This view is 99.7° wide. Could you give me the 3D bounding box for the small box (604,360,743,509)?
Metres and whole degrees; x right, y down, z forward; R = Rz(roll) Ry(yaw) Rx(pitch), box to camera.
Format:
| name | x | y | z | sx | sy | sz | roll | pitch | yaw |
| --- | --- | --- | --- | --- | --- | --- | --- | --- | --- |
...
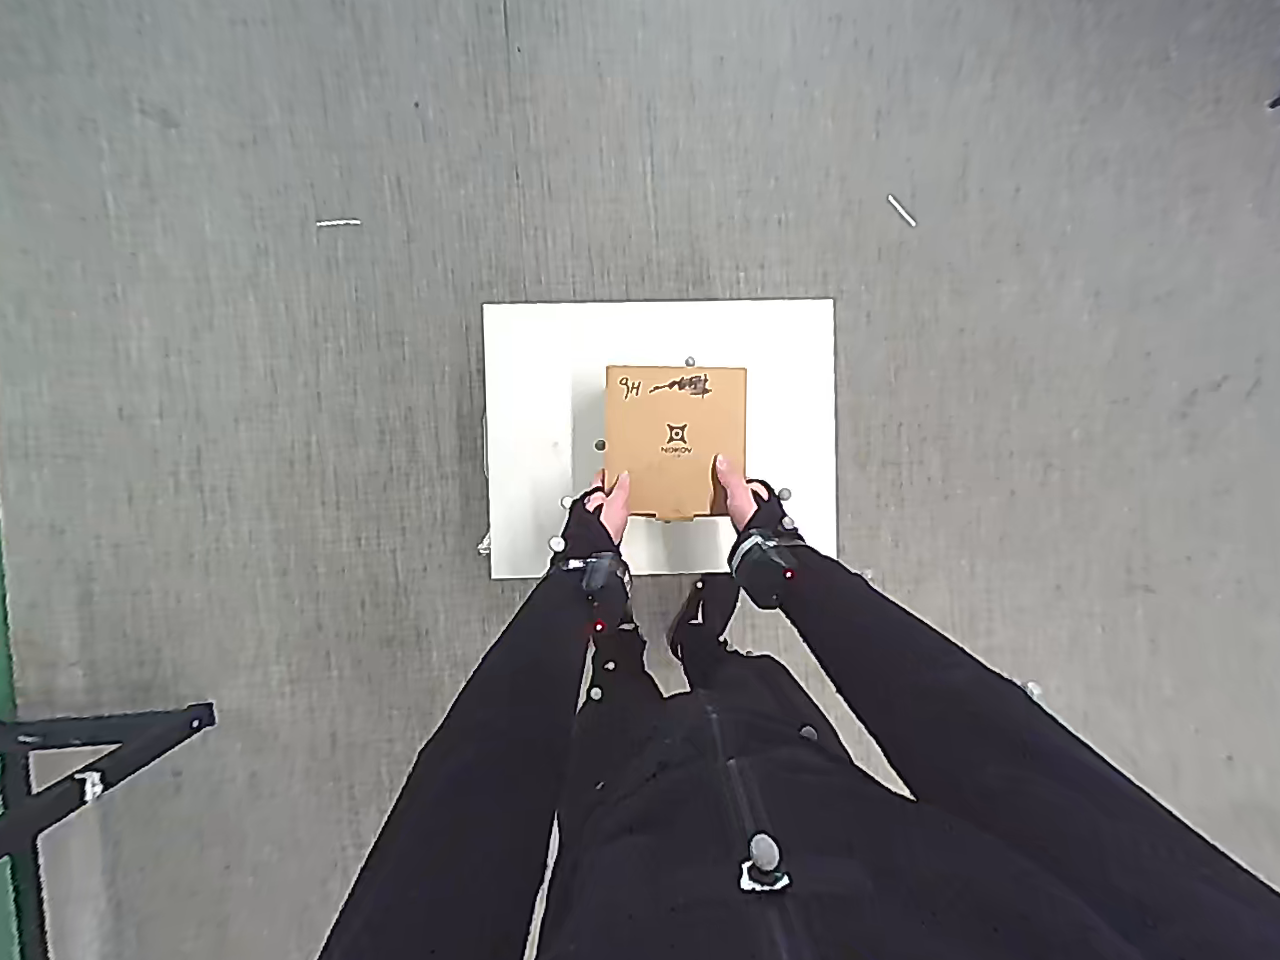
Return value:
| name | x | y | z | sx | sy | sz | roll | pitch | yaw |
| --- | --- | --- | --- | --- | --- | --- | --- | --- | --- |
| small box | 0.039 | -0.056 | 0.715 | 0.168 | 0.176 | 0.179 | -1 | 91 | -1 |
